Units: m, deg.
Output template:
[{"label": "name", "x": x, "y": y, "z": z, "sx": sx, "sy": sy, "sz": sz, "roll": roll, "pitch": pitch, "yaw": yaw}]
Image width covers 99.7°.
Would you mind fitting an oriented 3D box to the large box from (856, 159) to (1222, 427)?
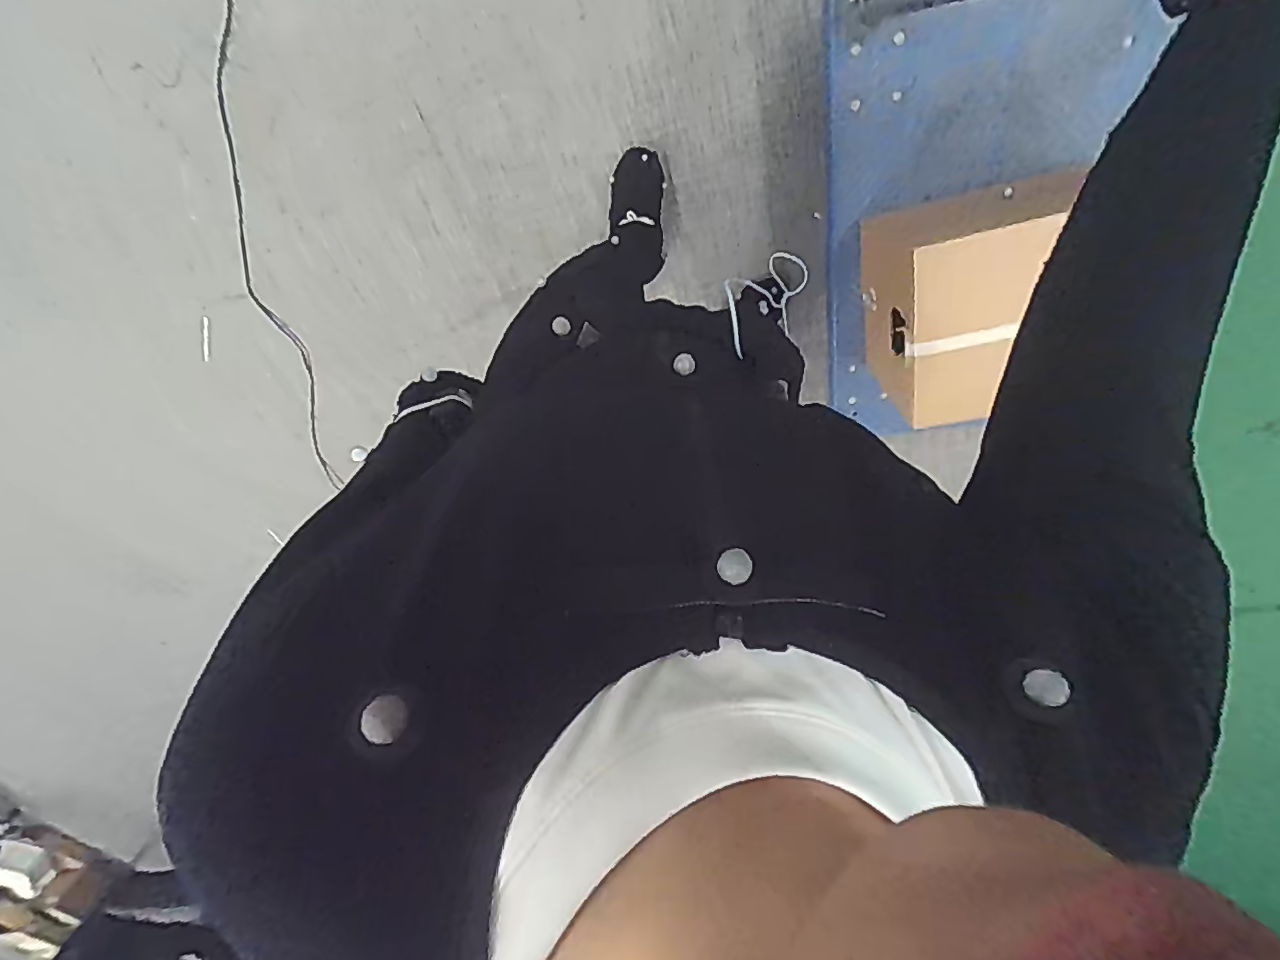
[{"label": "large box", "x": 0.639, "y": -0.336, "z": 0.961, "sx": 0.408, "sy": 0.320, "sz": 0.320, "roll": -11, "pitch": 122, "yaw": 12}]
